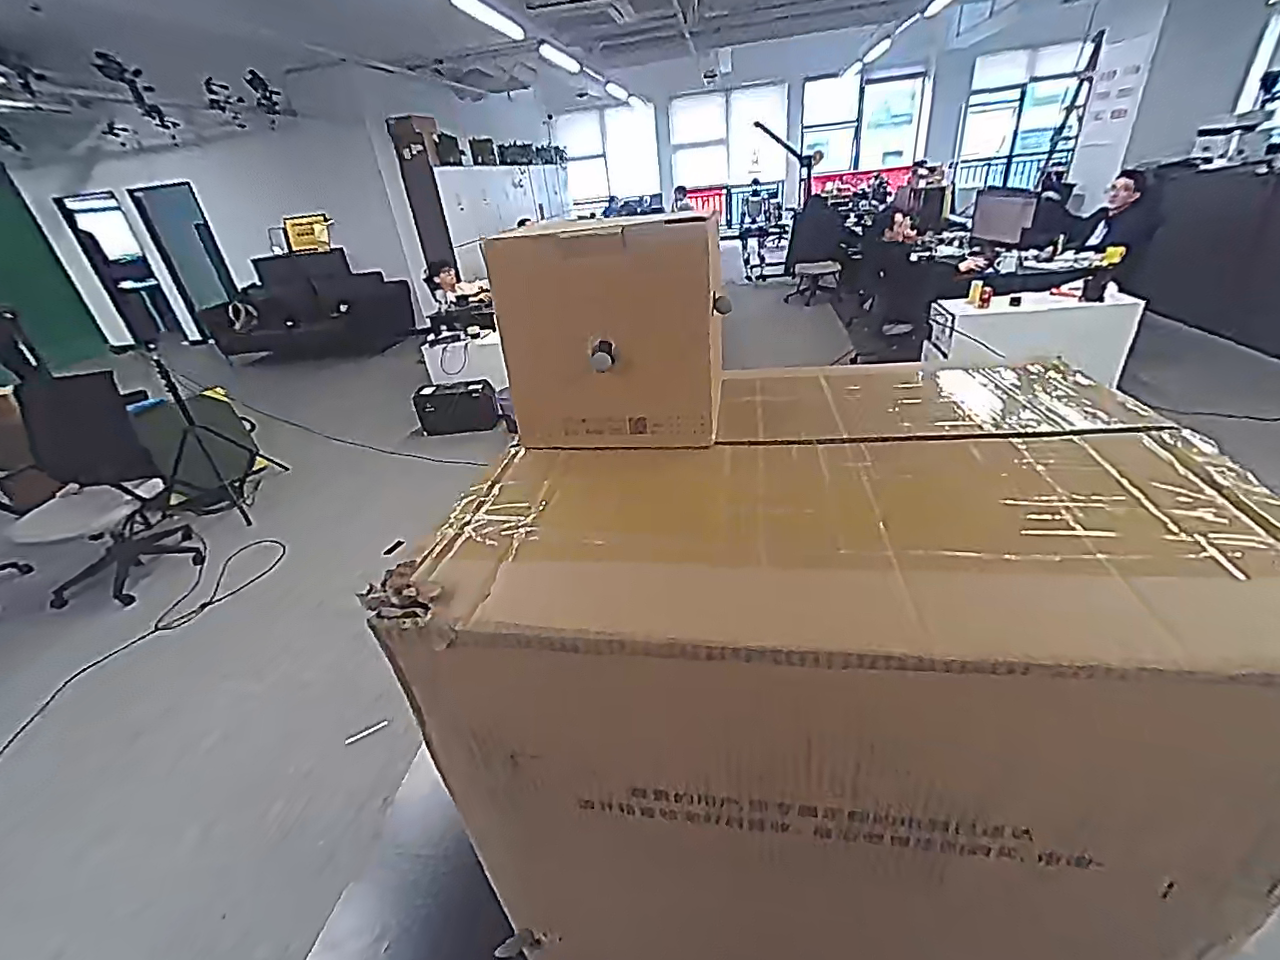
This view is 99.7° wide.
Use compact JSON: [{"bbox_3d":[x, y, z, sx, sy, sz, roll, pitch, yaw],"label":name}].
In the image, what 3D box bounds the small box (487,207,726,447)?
[{"bbox_3d":[-0.010,-0.136,0.481,0.168,0.176,0.179,0,29,10],"label":"small box"}]
